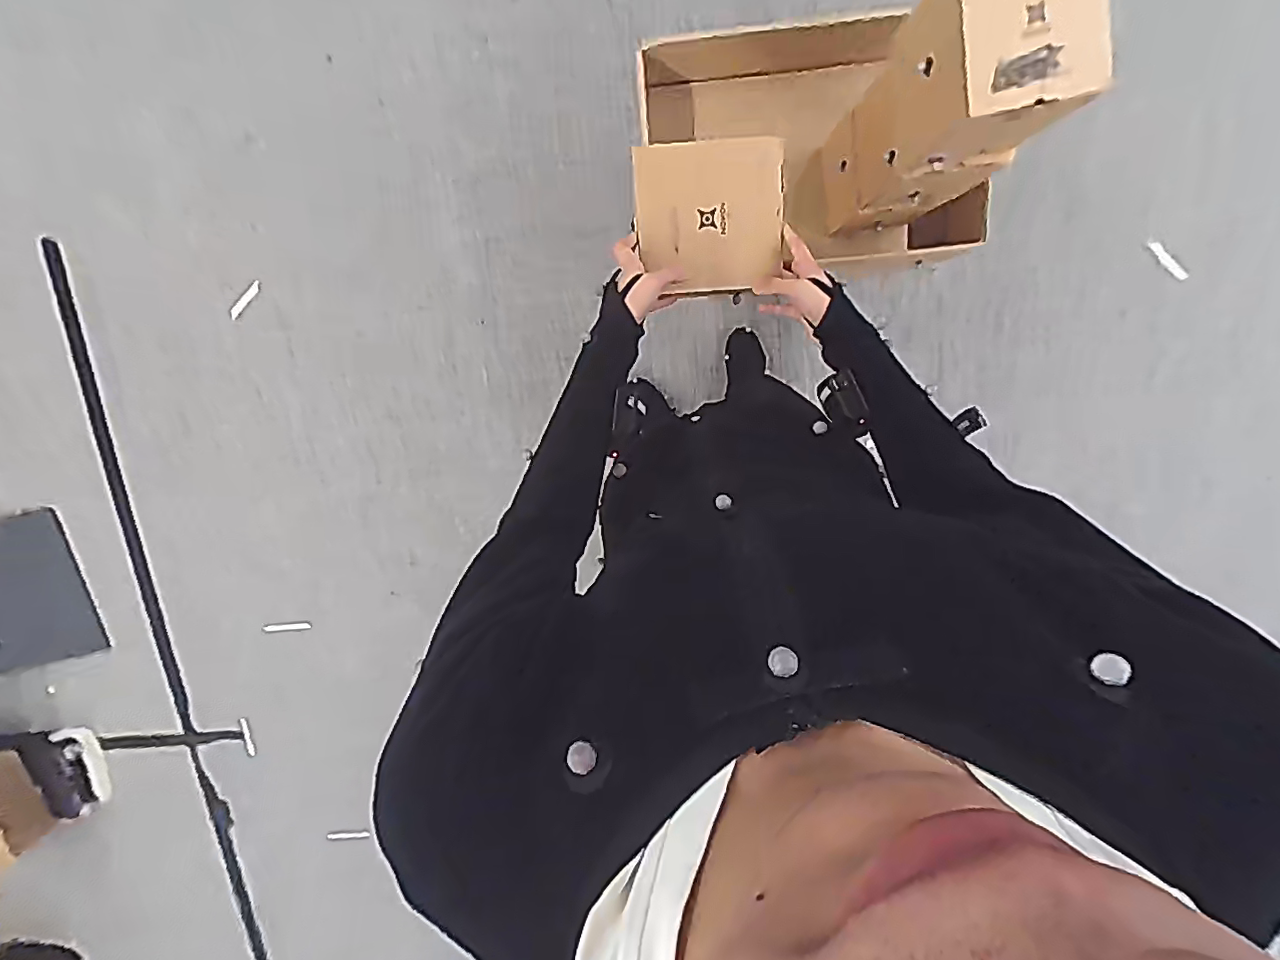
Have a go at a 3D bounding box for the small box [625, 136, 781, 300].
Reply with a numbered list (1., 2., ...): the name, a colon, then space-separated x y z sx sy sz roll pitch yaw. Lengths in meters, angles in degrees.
1. small box: 0.075 -0.331 0.712 0.179 0.176 0.168 -5 106 -1

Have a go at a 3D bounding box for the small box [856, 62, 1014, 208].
1. small box: 0.454 -0.555 0.854 0.168 0.176 0.179 -7 102 2

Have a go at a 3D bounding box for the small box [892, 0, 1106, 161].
1. small box: 0.443 -0.533 0.691 0.168 0.176 0.179 -10 101 2
